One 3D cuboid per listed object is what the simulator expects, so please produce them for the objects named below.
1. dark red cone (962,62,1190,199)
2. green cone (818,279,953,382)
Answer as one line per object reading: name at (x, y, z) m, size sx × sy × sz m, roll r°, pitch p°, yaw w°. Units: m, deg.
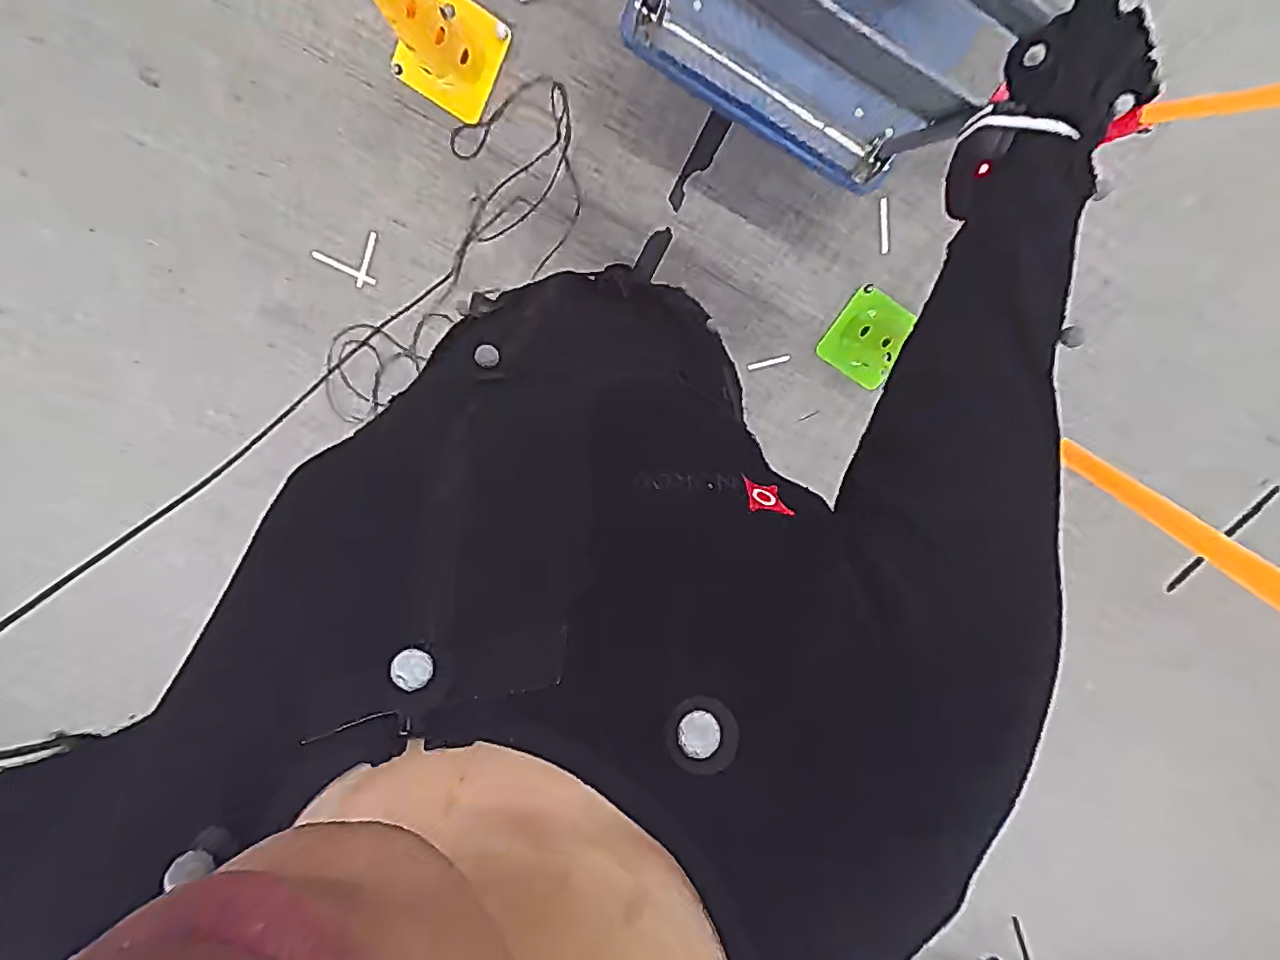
dark red cone at (0.816, -0.669, 1.002) m, size 0.201 × 0.394 × 0.202 m, roll 25°, pitch 113°, yaw -12°
green cone at (0.574, -0.296, 1.196) m, size 0.202 × 0.368 × 0.200 m, roll 29°, pitch 112°, yaw -13°
